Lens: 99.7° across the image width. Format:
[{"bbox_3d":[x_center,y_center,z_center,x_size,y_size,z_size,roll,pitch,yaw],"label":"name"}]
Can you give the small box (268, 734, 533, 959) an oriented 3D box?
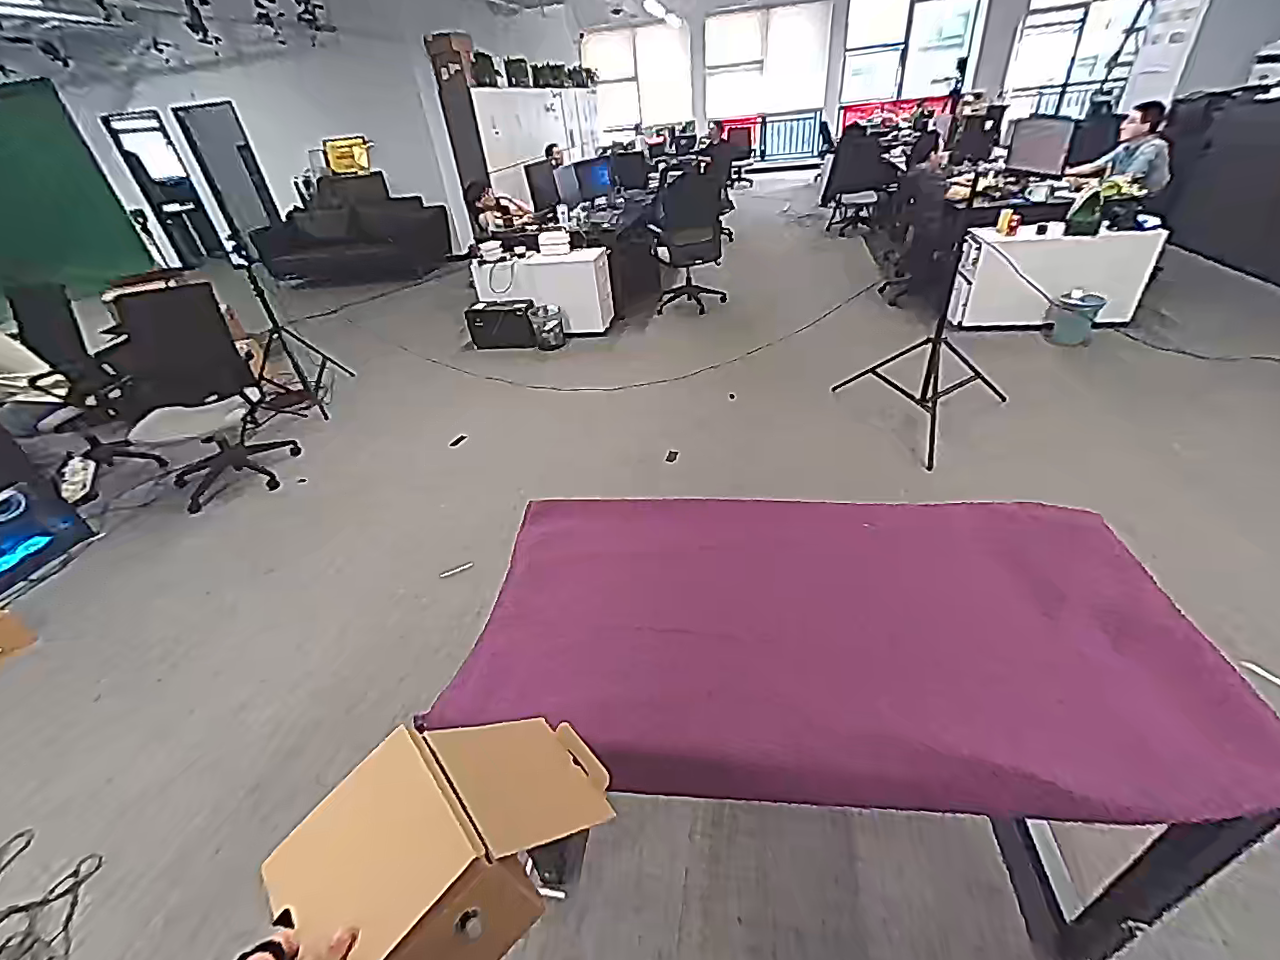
[{"bbox_3d":[-0.227,0.410,0.549,0.179,0.176,0.168,-35,43,-24],"label":"small box"}]
